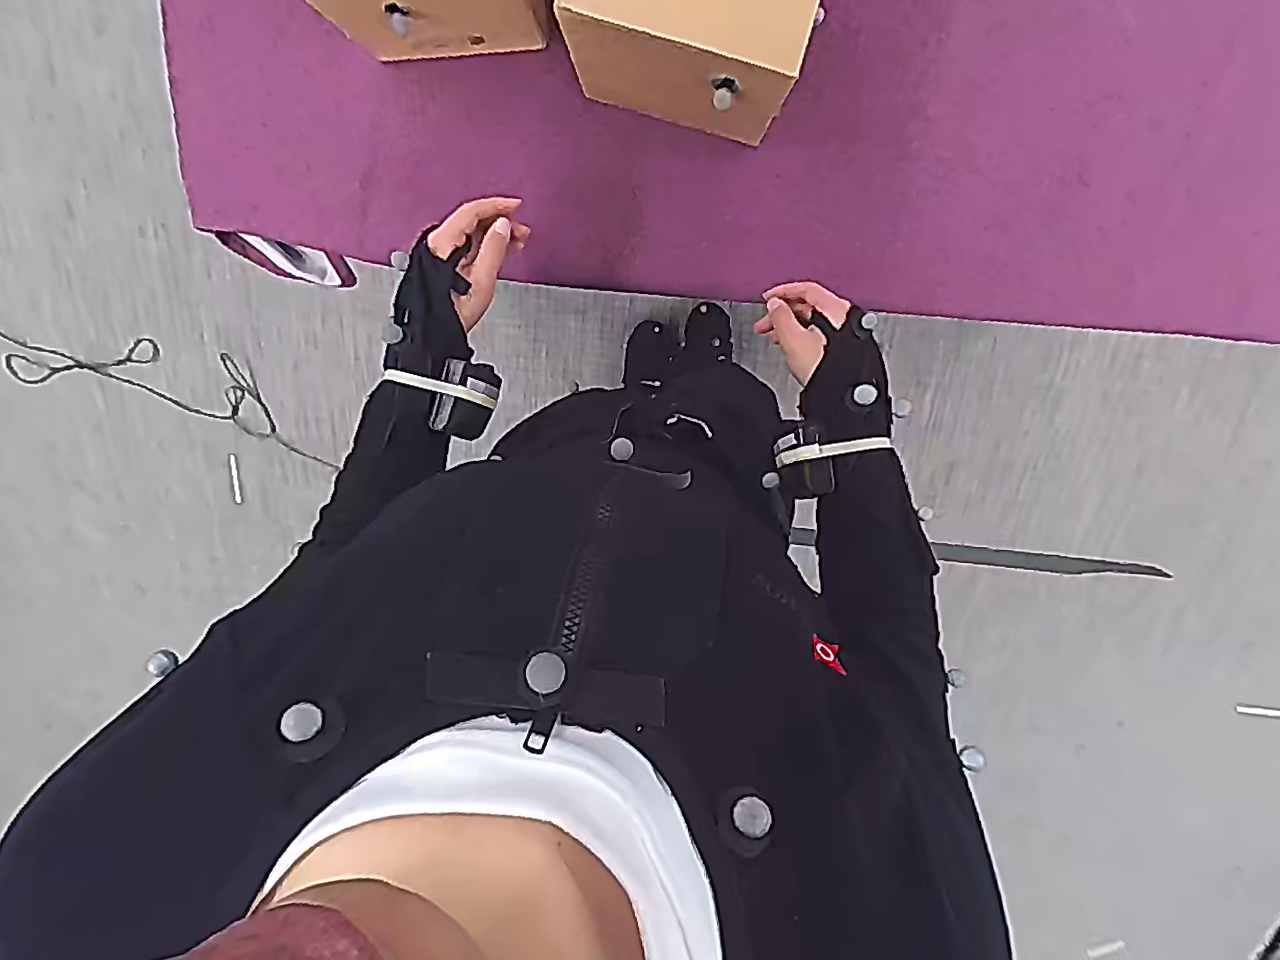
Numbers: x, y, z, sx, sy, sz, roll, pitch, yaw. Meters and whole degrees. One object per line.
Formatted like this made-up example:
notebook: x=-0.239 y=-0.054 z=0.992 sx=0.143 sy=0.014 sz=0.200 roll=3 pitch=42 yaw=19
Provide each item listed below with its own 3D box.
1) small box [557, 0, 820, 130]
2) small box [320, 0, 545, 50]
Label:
small box: x=0.048 y=-0.402 z=0.420 sx=0.179 sy=0.176 sz=0.168 roll=15 pitch=107 yaw=-2
small box: x=-0.176 y=-0.462 z=0.412 sx=0.168 sy=0.176 sz=0.179 roll=-2 pitch=108 yaw=3
